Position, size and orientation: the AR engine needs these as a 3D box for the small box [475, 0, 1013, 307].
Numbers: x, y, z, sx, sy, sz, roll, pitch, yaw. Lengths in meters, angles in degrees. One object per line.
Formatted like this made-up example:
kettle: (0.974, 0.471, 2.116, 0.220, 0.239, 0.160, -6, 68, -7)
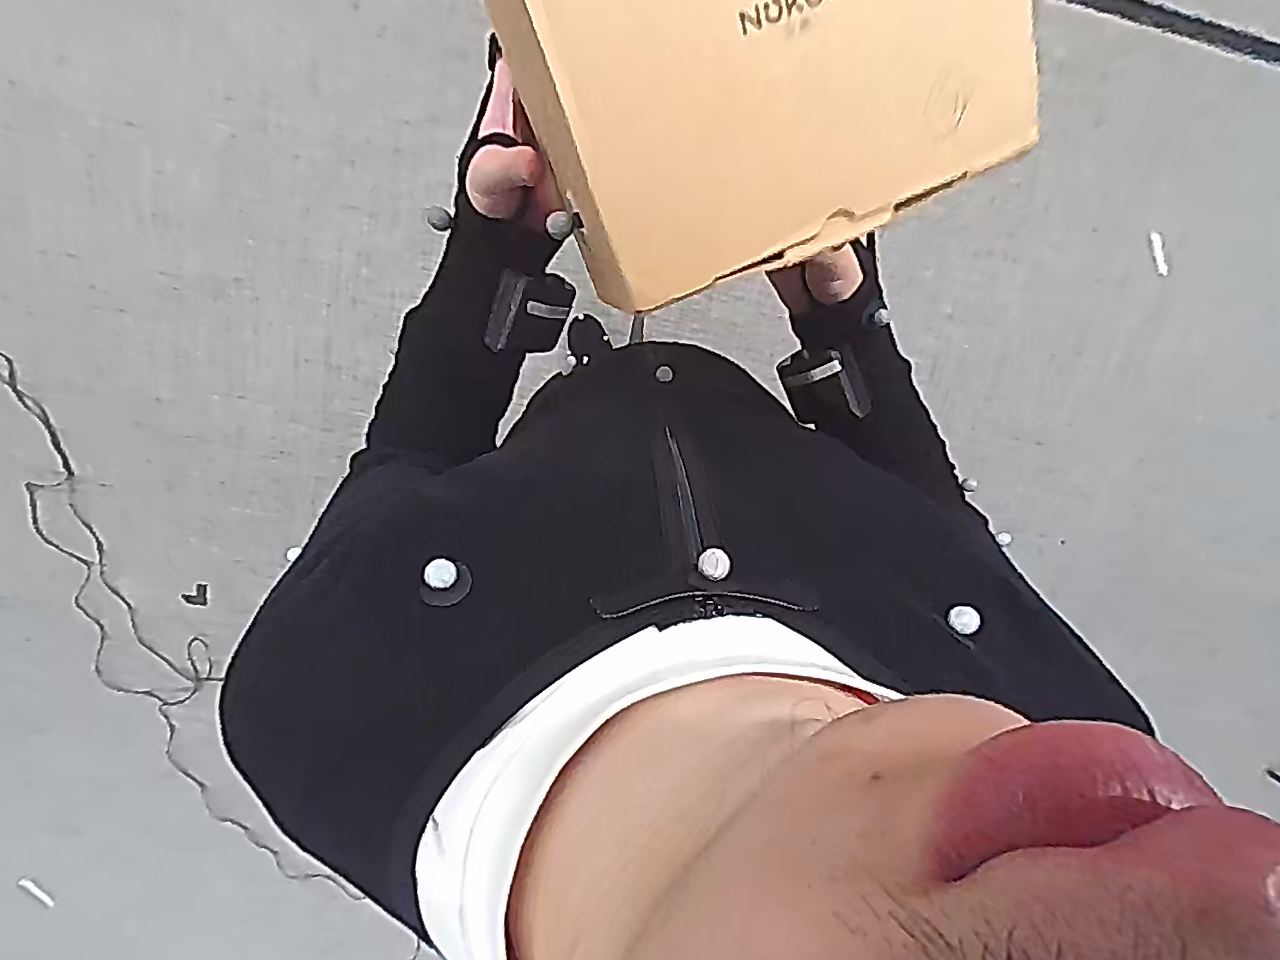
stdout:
small box: (0.026, -0.199, 0.254, 0.168, 0.176, 0.179, -25, 111, -1)
